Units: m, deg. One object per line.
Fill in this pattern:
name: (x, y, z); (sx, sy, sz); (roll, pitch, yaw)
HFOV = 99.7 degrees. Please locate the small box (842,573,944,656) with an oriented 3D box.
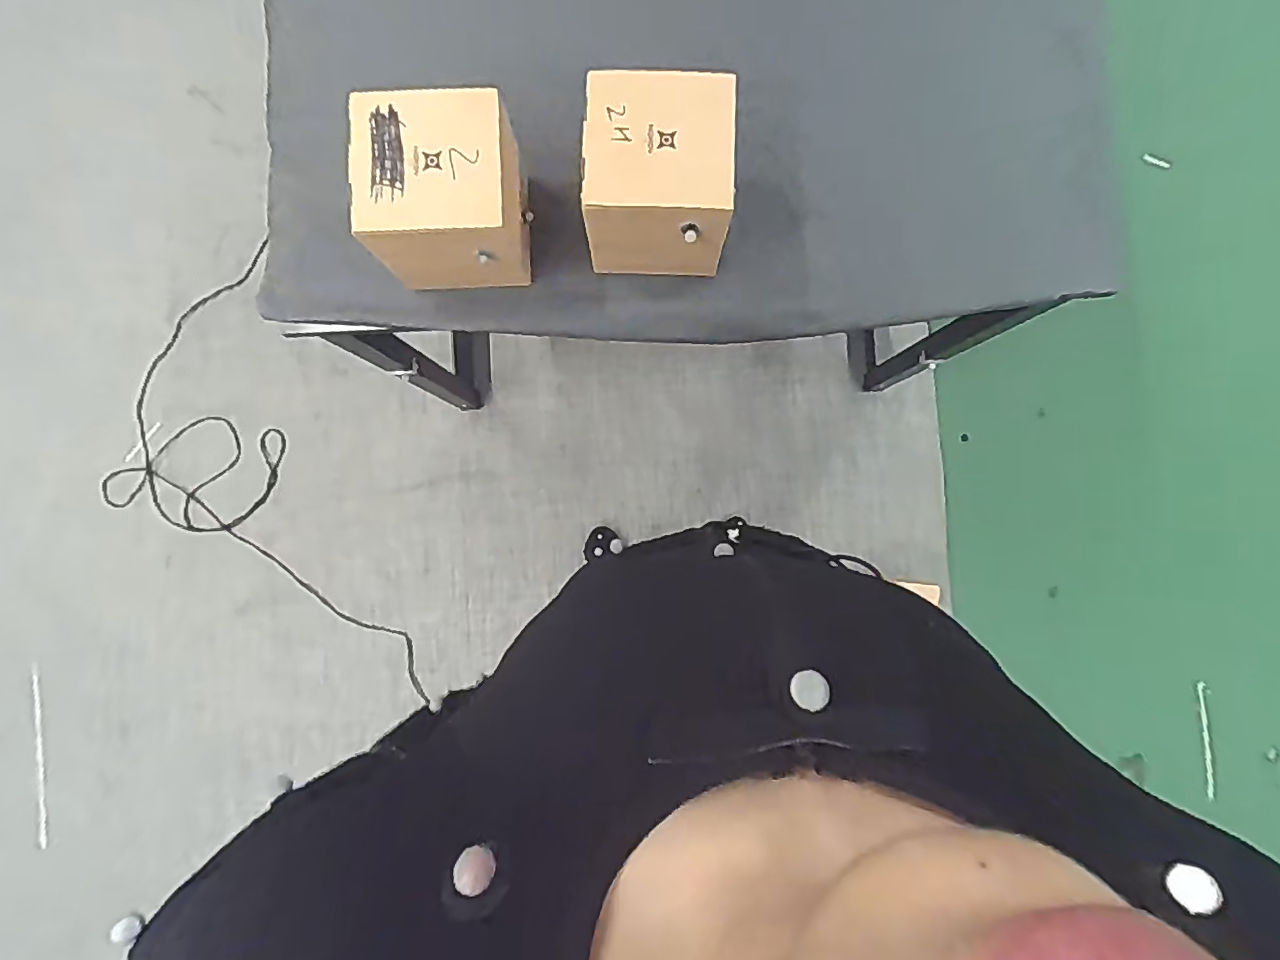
small box: (0.643, 0.337, 1.386); (0.179, 0.176, 0.168); (6, 88, 1)

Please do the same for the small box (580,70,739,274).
small box: (0.024, -0.380, 0.695); (0.179, 0.176, 0.168); (2, 86, 2)
